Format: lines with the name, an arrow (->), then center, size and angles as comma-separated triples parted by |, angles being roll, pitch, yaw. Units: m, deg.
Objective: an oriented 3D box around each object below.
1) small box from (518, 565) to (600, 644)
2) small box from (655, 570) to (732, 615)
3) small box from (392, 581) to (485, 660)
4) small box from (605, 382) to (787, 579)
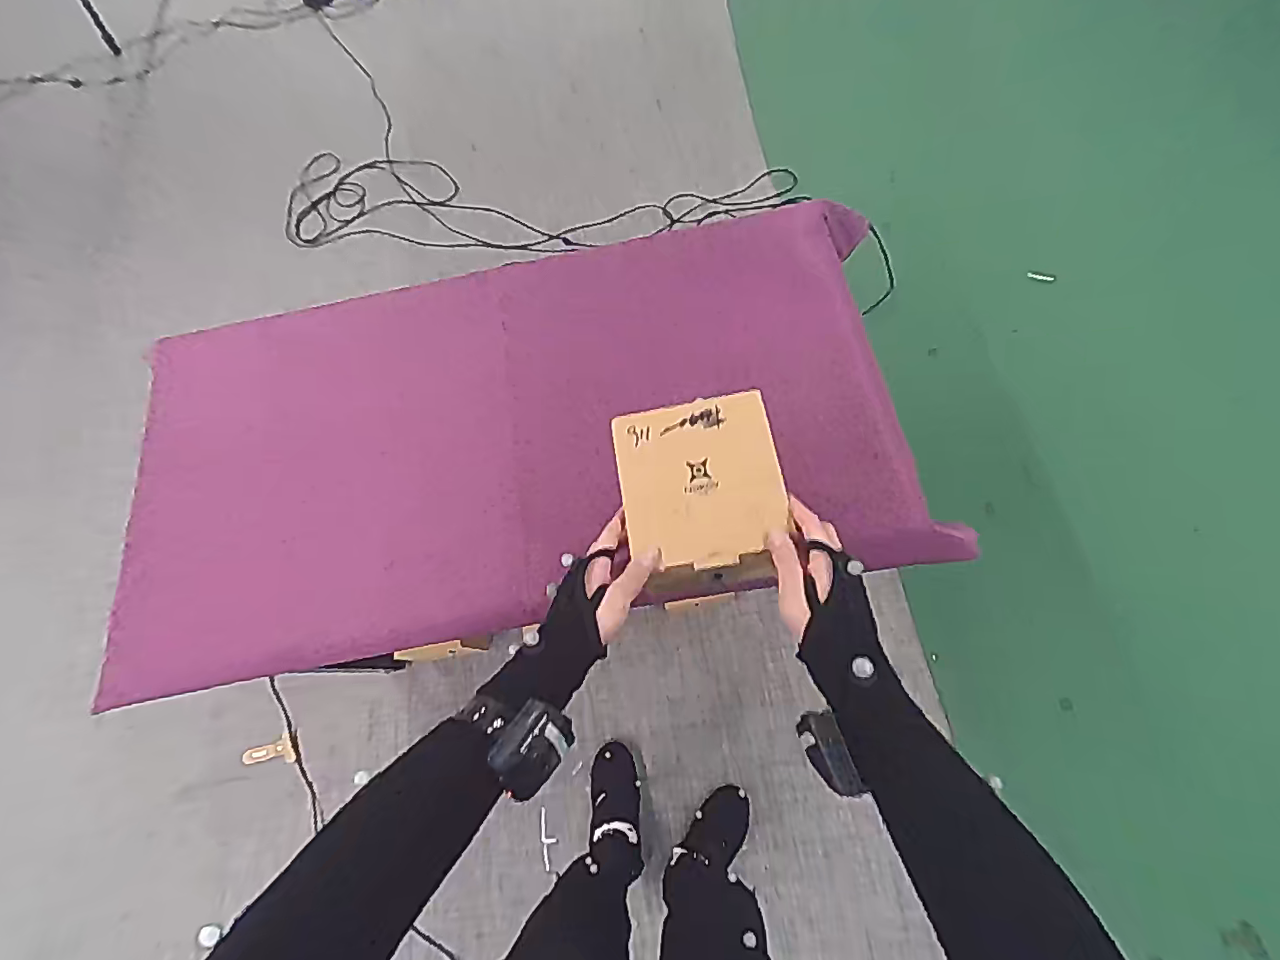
small box -> -0.203, 0.325, 1.395 | 0.179, 0.176, 0.168 | -10, 69, 3
small box -> 0.130, 0.241, 1.385 | 0.179, 0.176, 0.168 | -13, 70, 2
small box -> -0.524, 0.373, 1.415 | 0.179, 0.176, 0.168 | -11, 69, 2
small box -> 0.064, 0.014, 0.628 | 0.168, 0.176, 0.179 | -10, 71, 5
